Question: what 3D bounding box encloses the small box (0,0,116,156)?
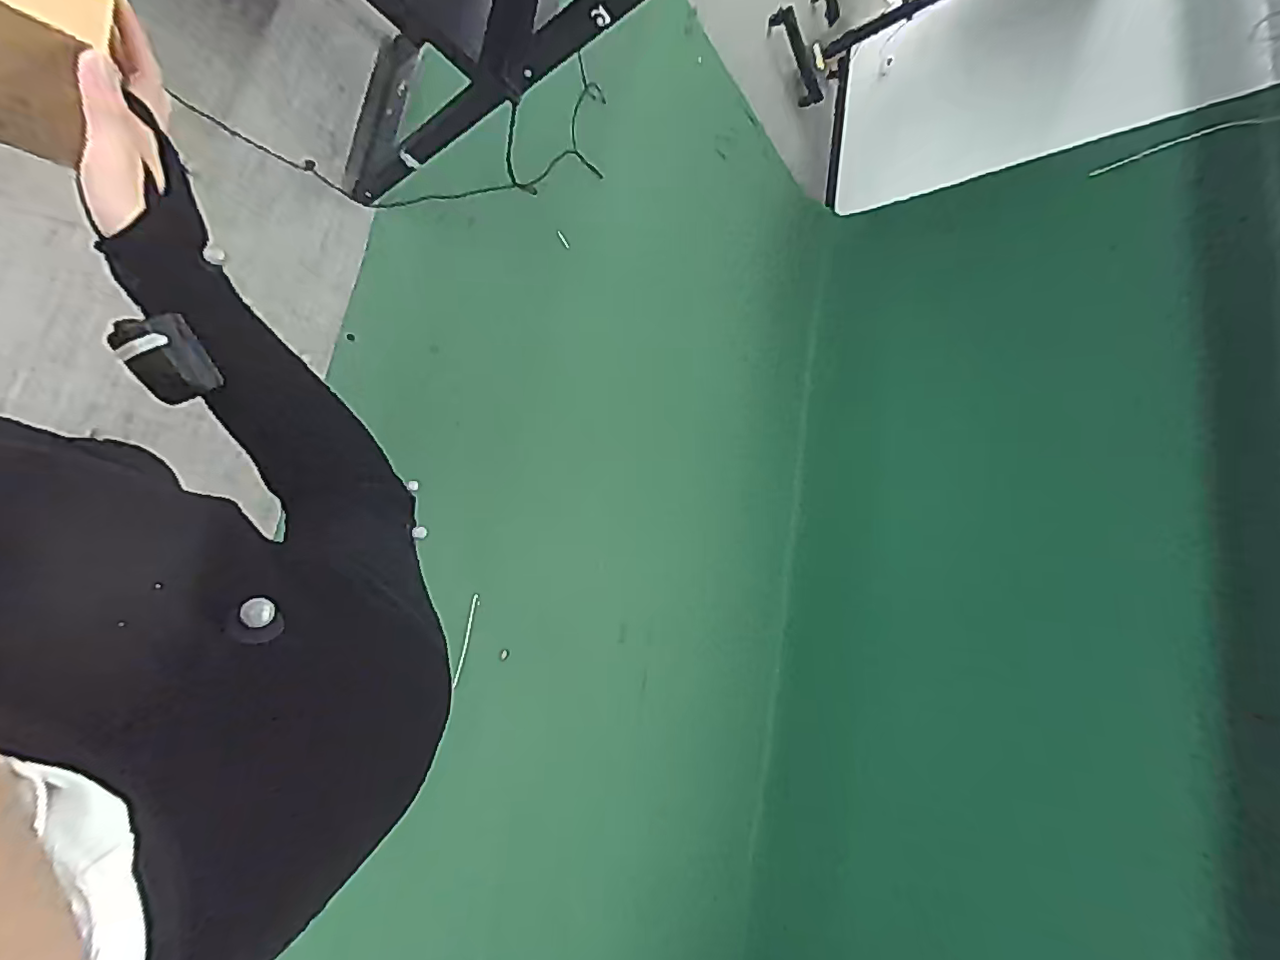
[{"bbox_3d":[-0.445,-0.352,0.338,0.168,0.176,0.179,8,78,-48],"label":"small box"}]
